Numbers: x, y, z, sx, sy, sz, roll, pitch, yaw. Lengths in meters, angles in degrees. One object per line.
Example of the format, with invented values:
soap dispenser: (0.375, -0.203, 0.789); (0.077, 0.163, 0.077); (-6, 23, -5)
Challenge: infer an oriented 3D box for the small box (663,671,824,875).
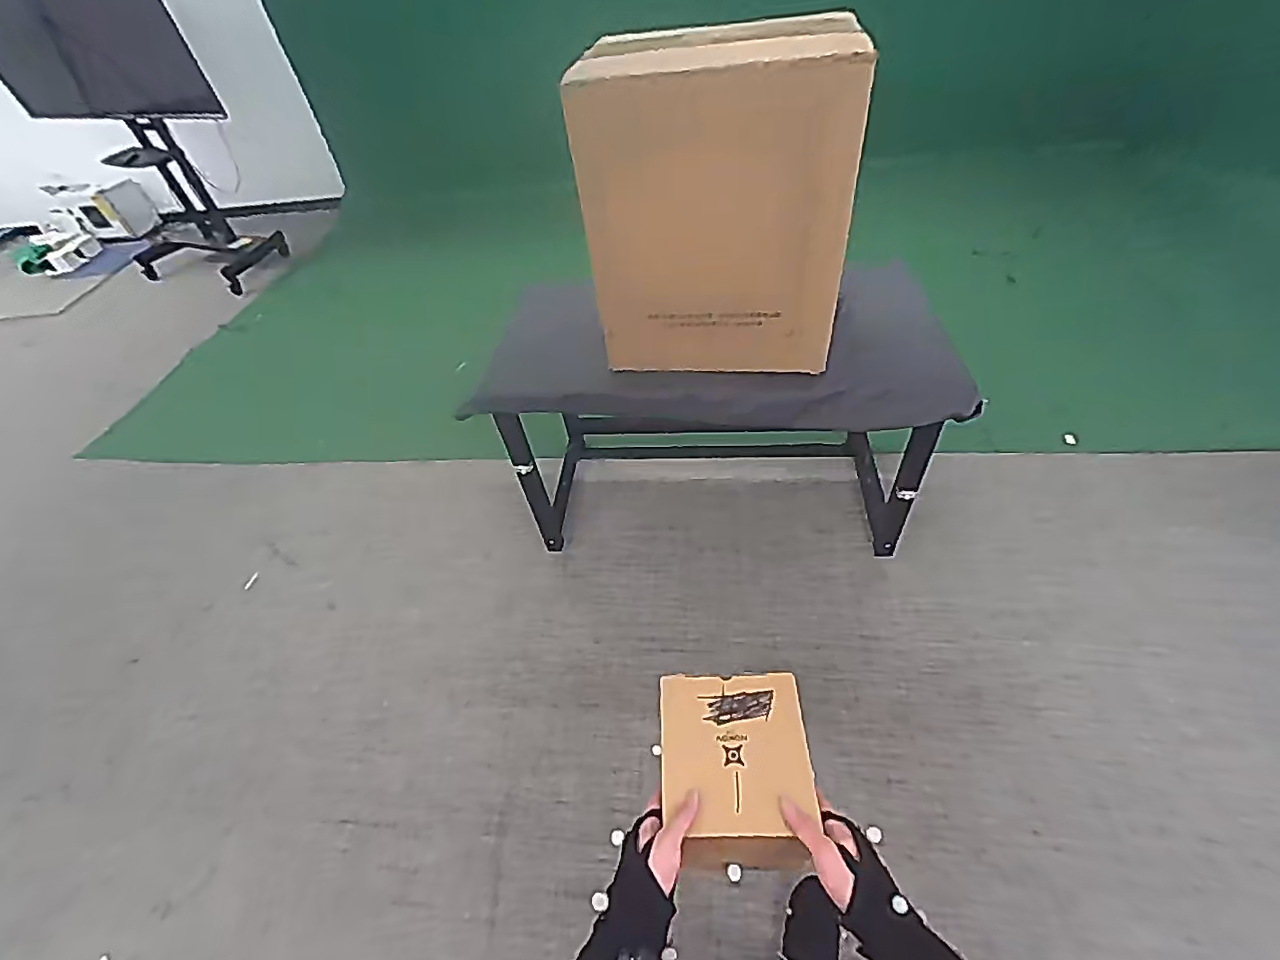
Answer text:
small box: (0.116, 0.356, 0.663); (0.168, 0.176, 0.179); (-1, 45, 6)
